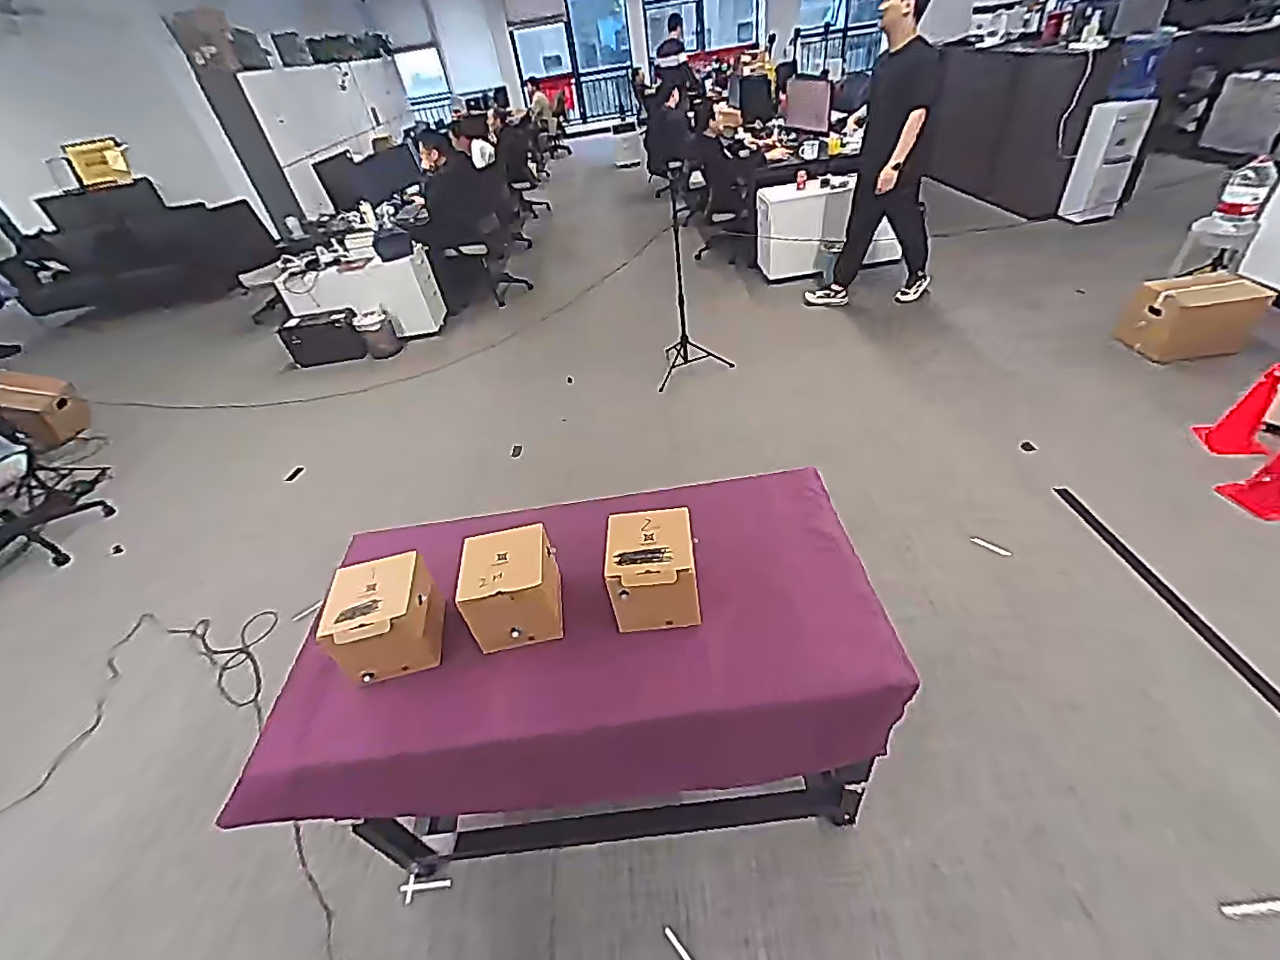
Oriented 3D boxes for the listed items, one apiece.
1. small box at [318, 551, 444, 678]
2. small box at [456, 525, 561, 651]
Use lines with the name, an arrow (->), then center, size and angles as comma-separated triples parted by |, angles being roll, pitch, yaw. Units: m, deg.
small box -> -0.511, 0.279, 1.098 | 0.168, 0.176, 0.179 | -13, 38, -5
small box -> -0.261, 0.222, 1.114 | 0.168, 0.176, 0.179 | -11, 39, -1
